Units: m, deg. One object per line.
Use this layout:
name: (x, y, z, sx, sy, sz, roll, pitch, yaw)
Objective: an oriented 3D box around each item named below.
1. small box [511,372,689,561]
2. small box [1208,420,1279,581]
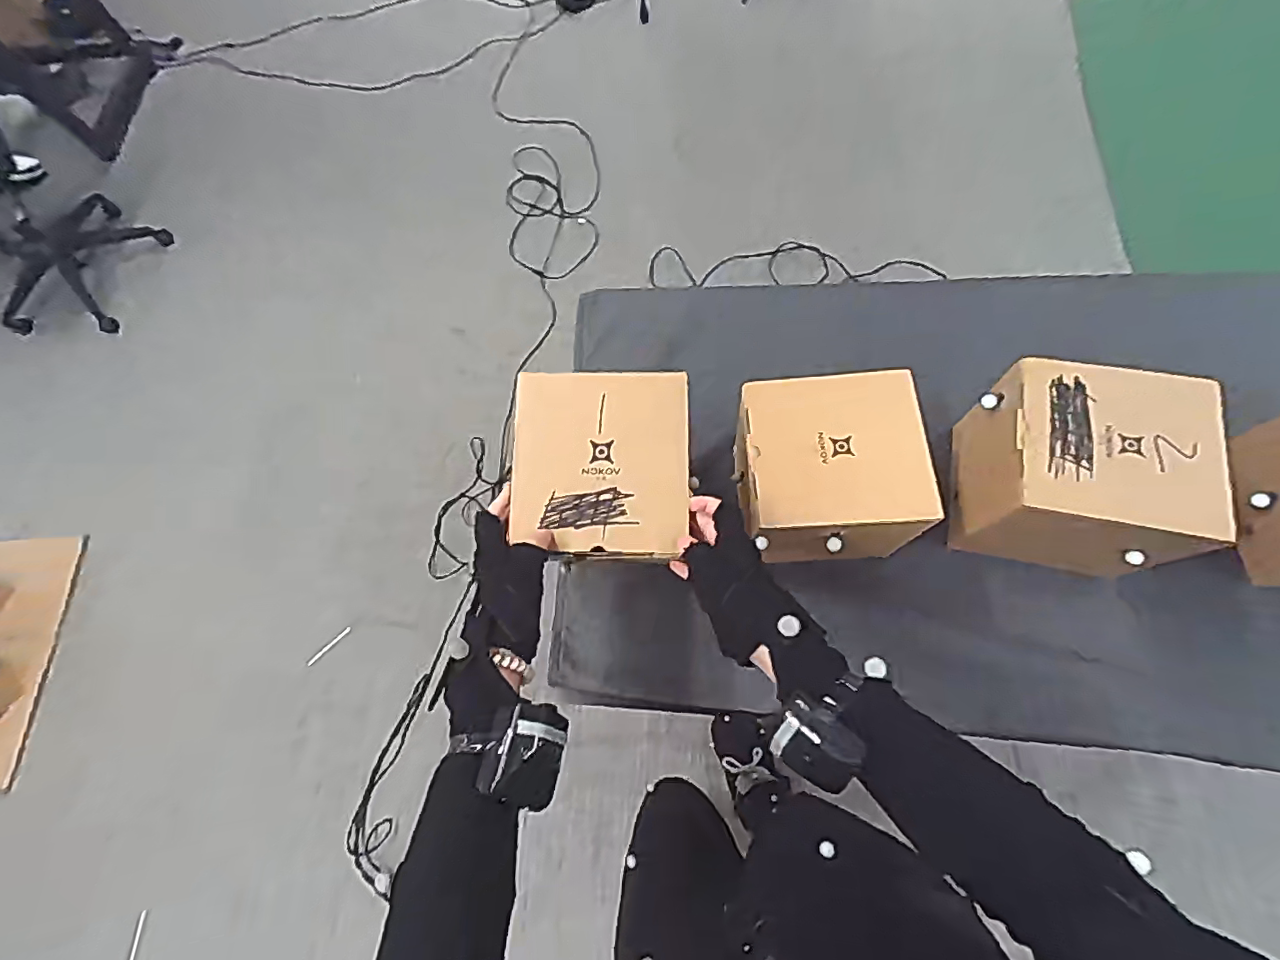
small box: (-0.031, -0.004, 0.587, 0.168, 0.176, 0.179, 1, 78, 3)
small box: (0.756, 0.008, 0.542, 0.179, 0.176, 0.168, -1, 69, 7)
